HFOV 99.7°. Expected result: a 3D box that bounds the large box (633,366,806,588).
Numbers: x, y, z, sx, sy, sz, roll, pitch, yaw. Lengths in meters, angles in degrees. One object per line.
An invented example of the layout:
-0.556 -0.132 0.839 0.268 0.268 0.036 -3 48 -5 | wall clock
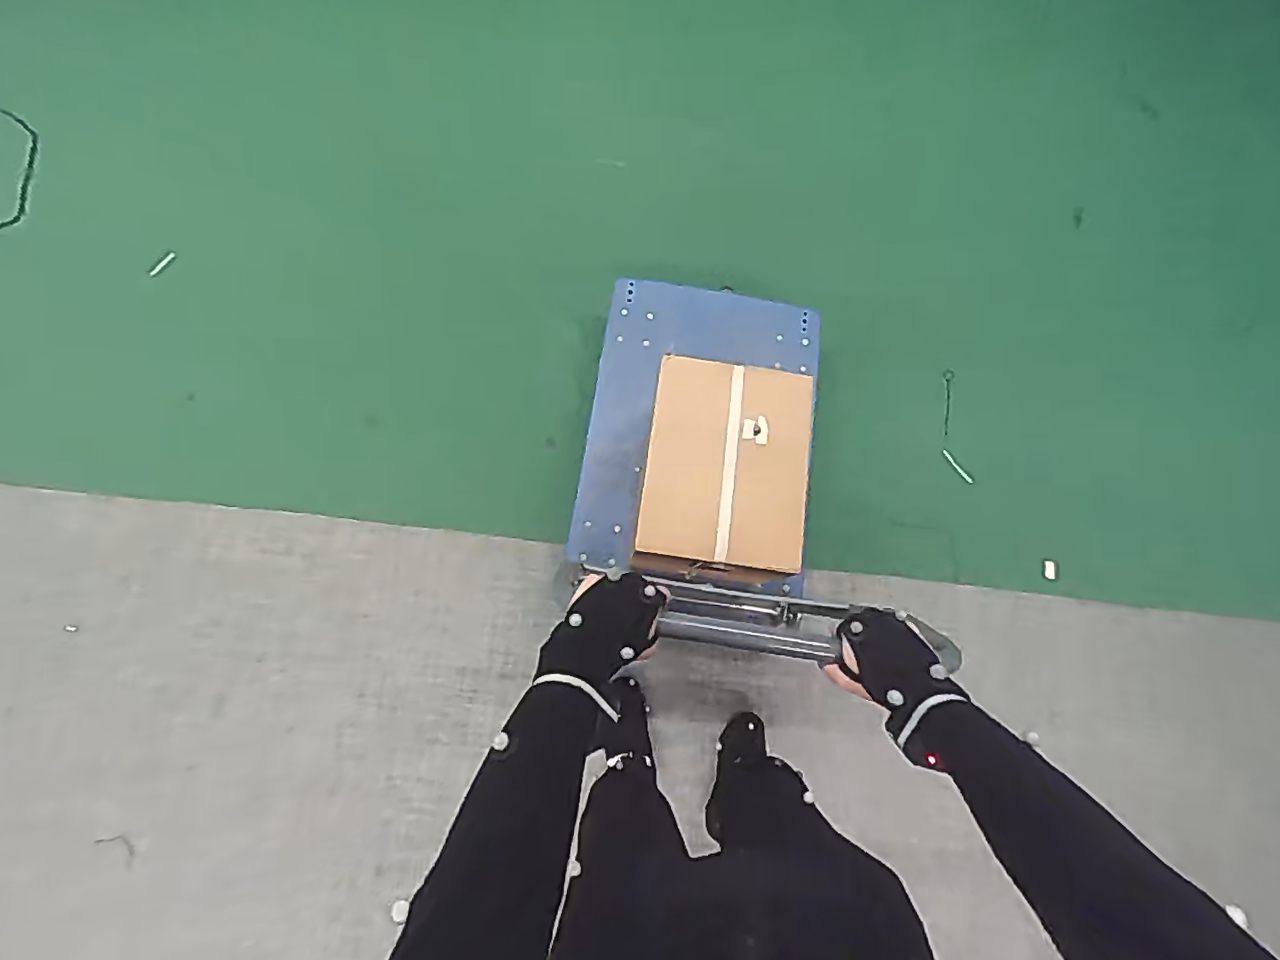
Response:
0.160 0.015 1.202 0.320 0.320 0.408 9 74 -2 | large box
